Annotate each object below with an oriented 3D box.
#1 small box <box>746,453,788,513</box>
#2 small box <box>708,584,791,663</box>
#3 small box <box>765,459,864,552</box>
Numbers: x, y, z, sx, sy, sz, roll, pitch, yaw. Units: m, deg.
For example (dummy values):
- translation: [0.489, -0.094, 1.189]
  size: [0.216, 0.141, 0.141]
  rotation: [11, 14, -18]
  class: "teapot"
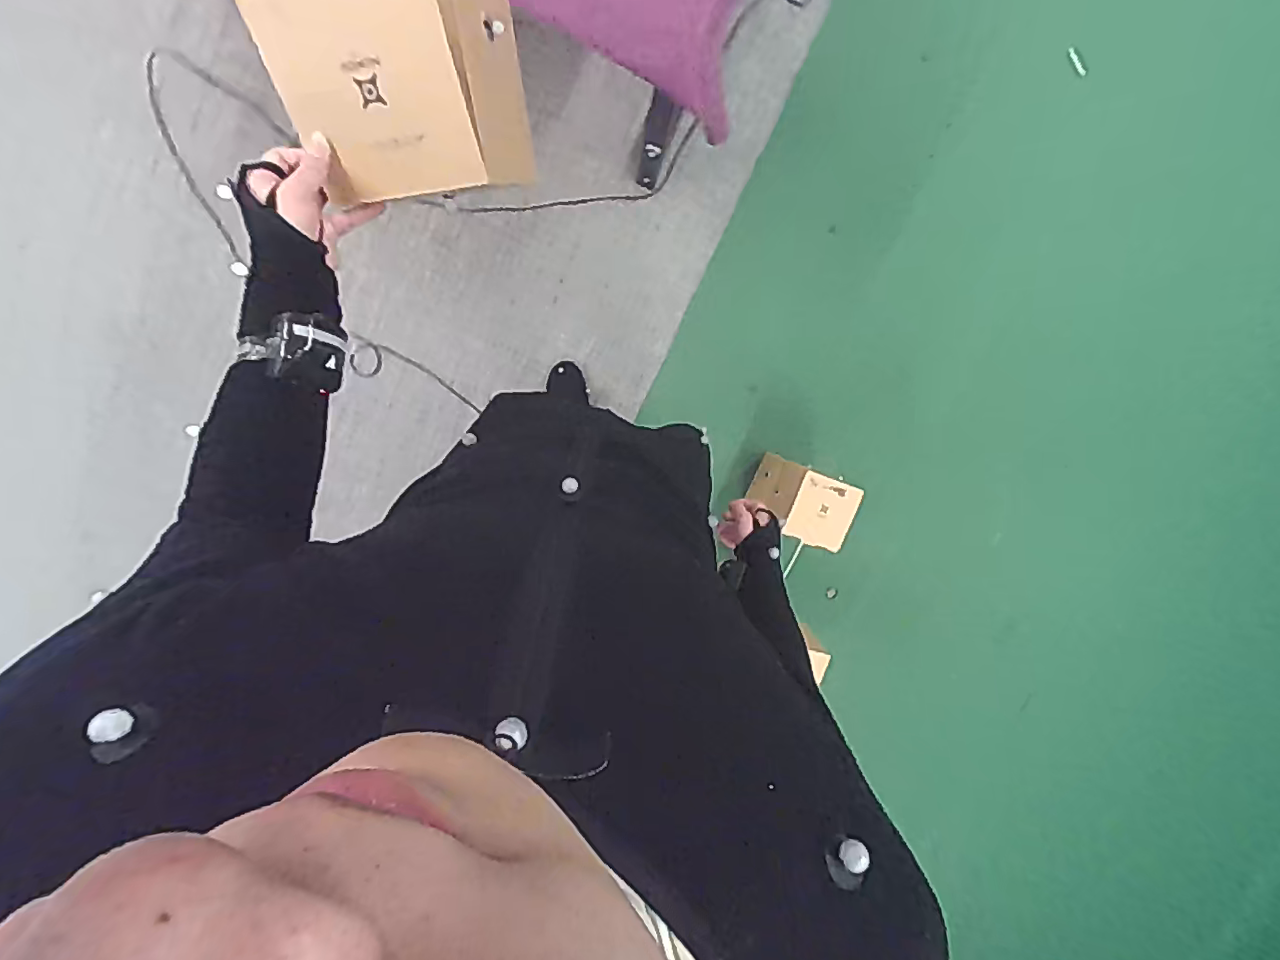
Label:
- translation: [0.438, 0.030, 1.597]
  size: [0.179, 0.176, 0.168]
  rotation: [23, 99, -8]
  class: "small box"
- translation: [0.304, 0.407, 1.501]
  size: [0.179, 0.176, 0.168]
  rotation: [16, 101, -5]
  class: "small box"
- translation: [0.452, 0.062, 1.436]
  size: [0.168, 0.176, 0.179]
  rotation: [20, 100, -9]
  class: "small box"
